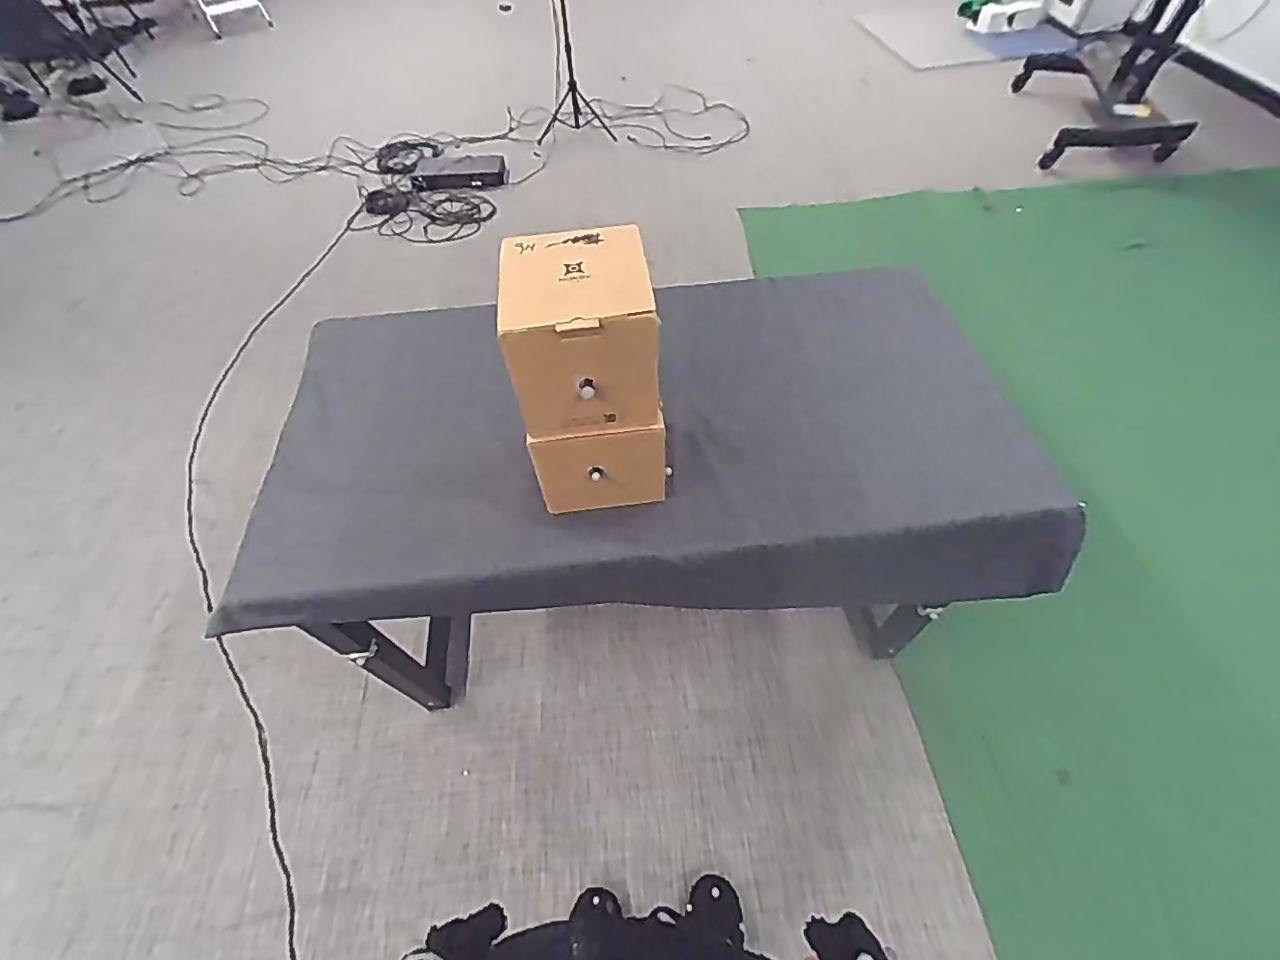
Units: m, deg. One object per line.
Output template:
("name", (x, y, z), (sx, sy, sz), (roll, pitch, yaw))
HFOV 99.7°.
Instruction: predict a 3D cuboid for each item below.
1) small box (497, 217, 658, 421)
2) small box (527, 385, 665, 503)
("small box", (-0.069, -0.187, 0.660), (0.168, 0.176, 0.179), (-7, 55, -2))
("small box", (-0.060, -0.083, 0.786), (0.179, 0.176, 0.168), (-7, 55, -1))
